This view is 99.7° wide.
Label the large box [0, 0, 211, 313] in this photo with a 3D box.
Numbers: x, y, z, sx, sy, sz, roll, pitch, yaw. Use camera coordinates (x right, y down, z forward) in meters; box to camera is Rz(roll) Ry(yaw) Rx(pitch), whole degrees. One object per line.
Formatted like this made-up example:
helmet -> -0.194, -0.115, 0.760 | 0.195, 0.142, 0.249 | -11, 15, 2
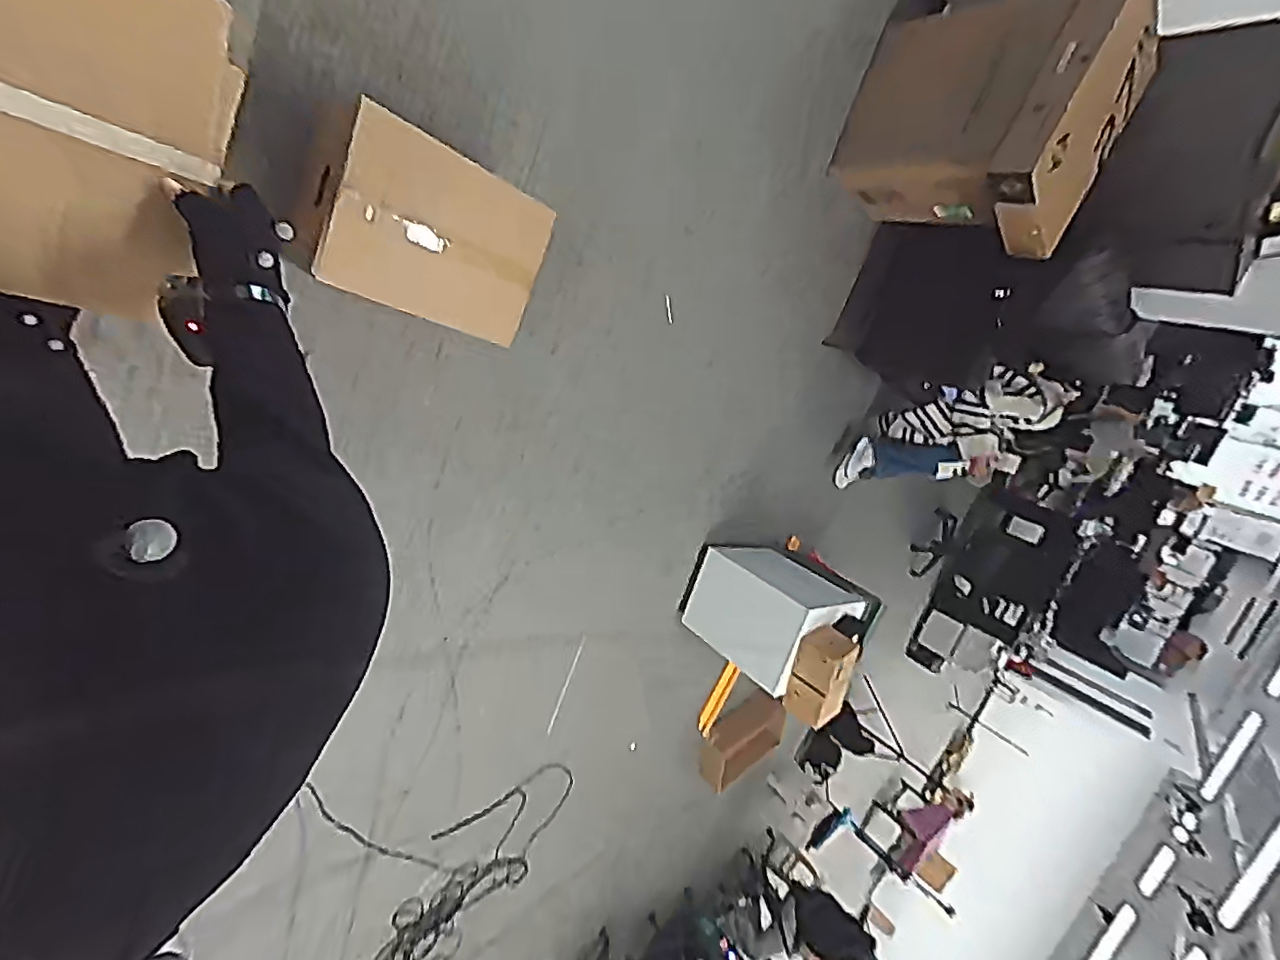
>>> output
large box -> -0.666, -0.380, 0.486 | 0.408, 0.320, 0.320 | 5, 108, -45
